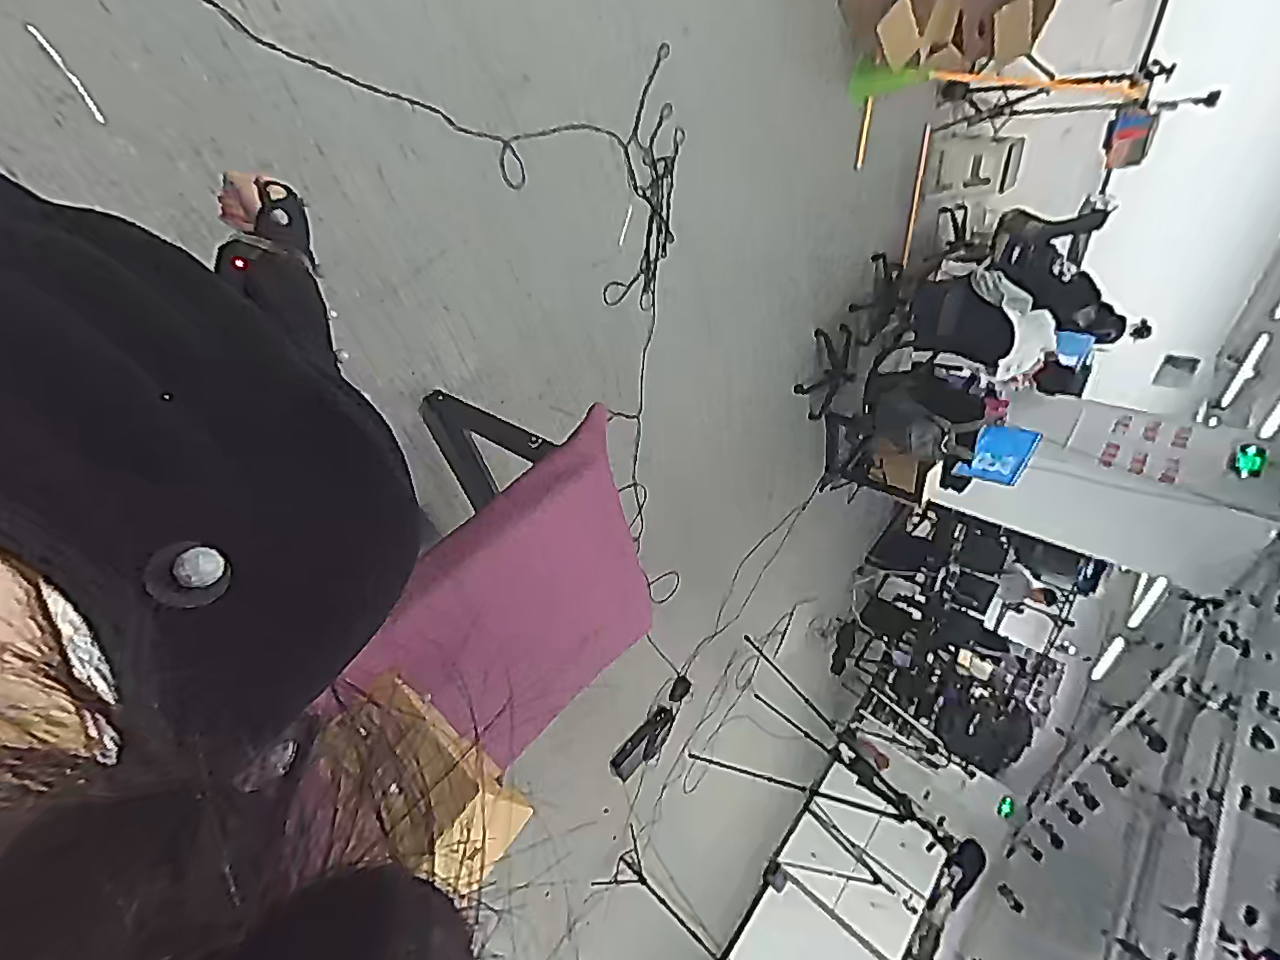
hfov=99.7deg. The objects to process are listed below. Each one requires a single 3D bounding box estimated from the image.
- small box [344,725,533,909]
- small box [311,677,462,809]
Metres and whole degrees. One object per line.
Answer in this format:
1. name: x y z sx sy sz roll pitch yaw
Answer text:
1. small box: -0.303 0.509 0.827 0.168 0.176 0.179 -50 141 -21
2. small box: -0.424 0.474 0.937 0.168 0.176 0.179 -45 139 -25
